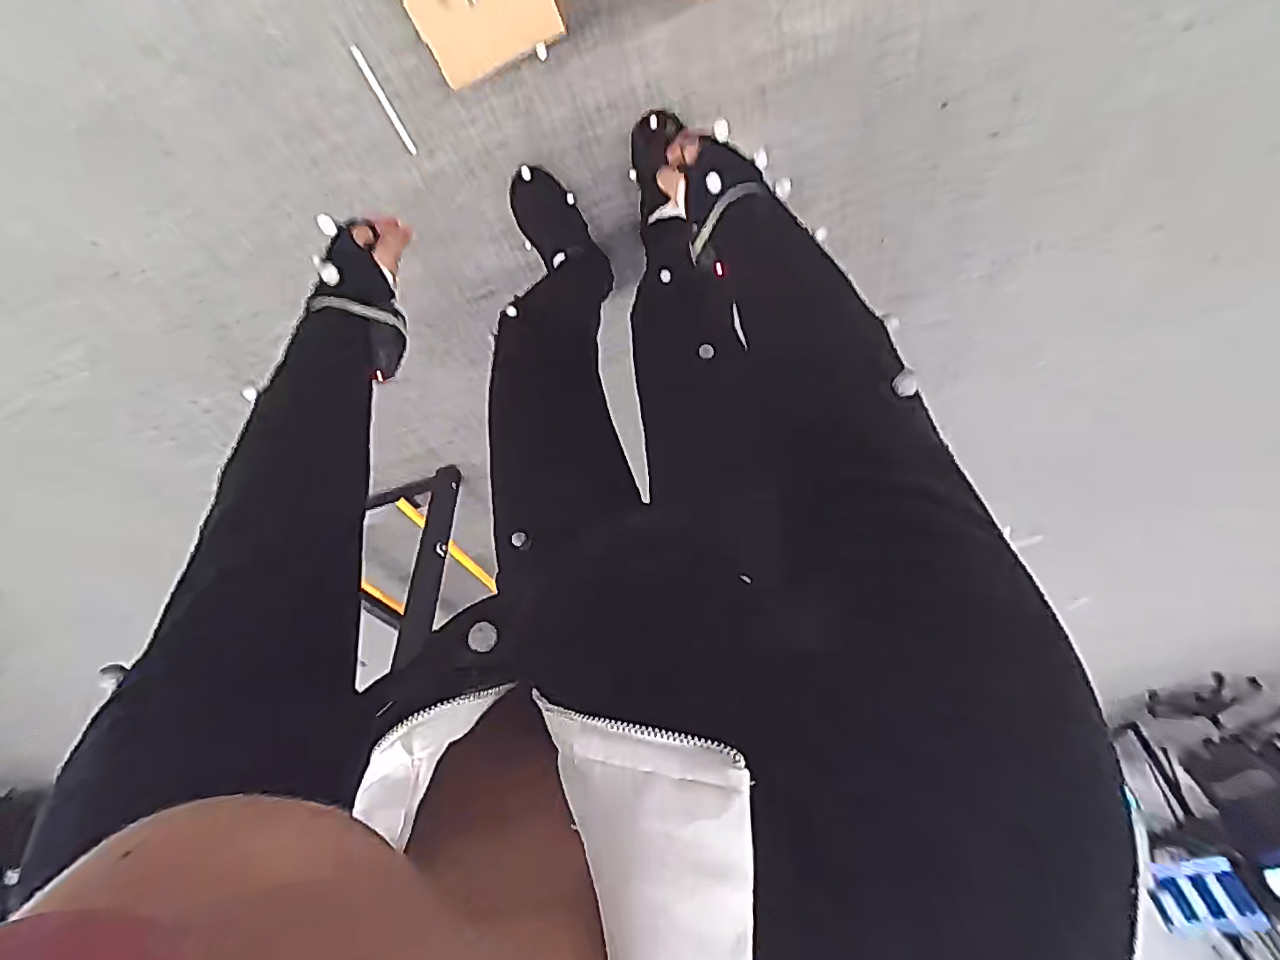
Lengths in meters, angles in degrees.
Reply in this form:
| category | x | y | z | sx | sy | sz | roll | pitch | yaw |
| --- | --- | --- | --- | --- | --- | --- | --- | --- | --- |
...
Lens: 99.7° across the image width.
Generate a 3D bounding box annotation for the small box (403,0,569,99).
| category | x | y | z | sx | sy | sz | roll | pitch | yaw |
| --- | --- | --- | --- | --- | --- | --- | --- | --- | --- |
| small box | -0.207 | -0.657 | 0.720 | 0.179 | 0.176 | 0.168 | -17 | 137 | 13 |
